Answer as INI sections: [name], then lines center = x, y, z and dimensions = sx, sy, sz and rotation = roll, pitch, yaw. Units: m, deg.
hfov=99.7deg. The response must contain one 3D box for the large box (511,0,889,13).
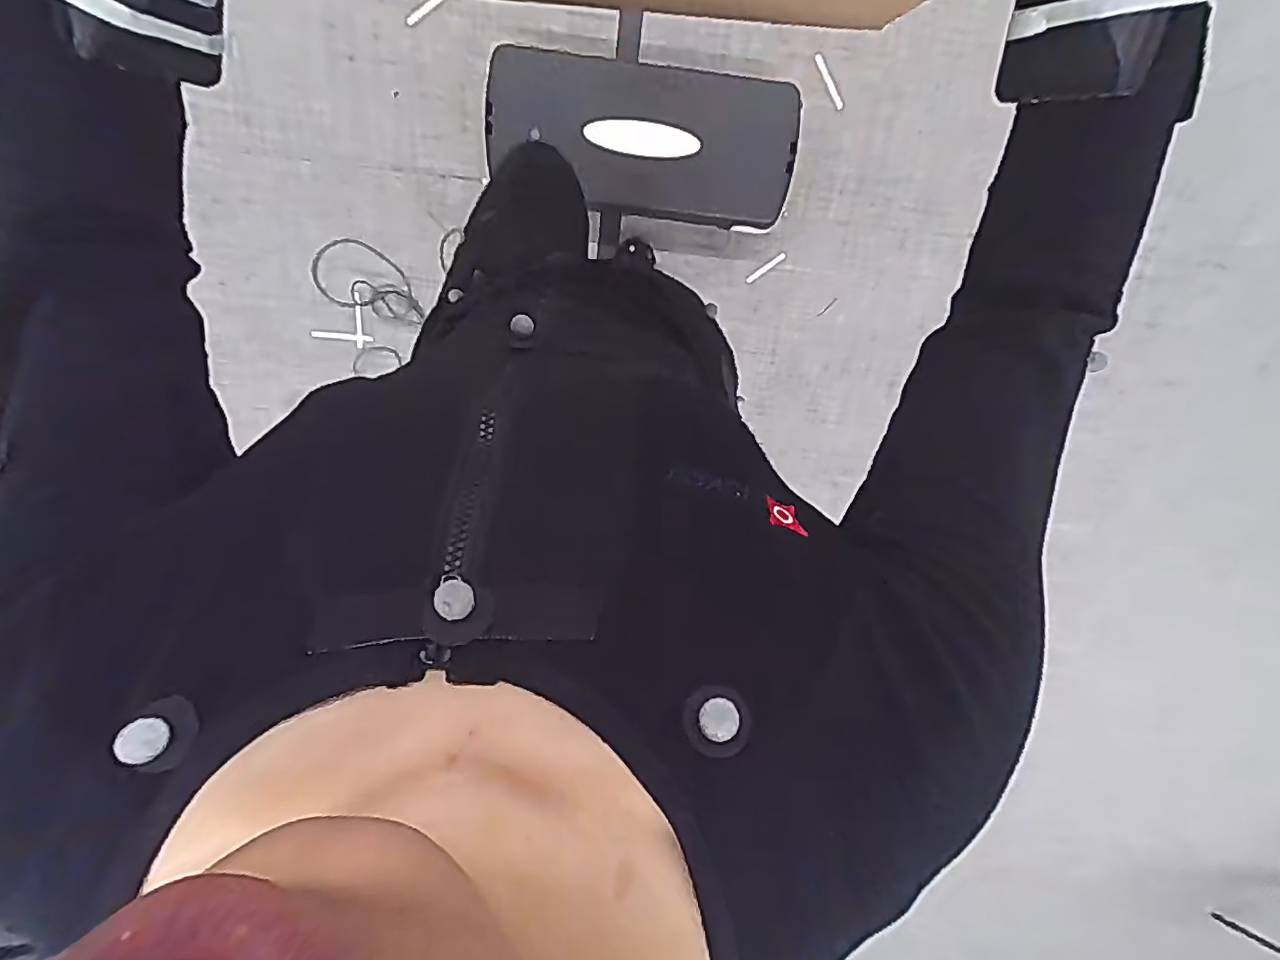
[large box]
center = 0.012, -0.479, 0.275
dimensions = 0.408, 0.320, 0.320
rotation = 4, 121, 1
